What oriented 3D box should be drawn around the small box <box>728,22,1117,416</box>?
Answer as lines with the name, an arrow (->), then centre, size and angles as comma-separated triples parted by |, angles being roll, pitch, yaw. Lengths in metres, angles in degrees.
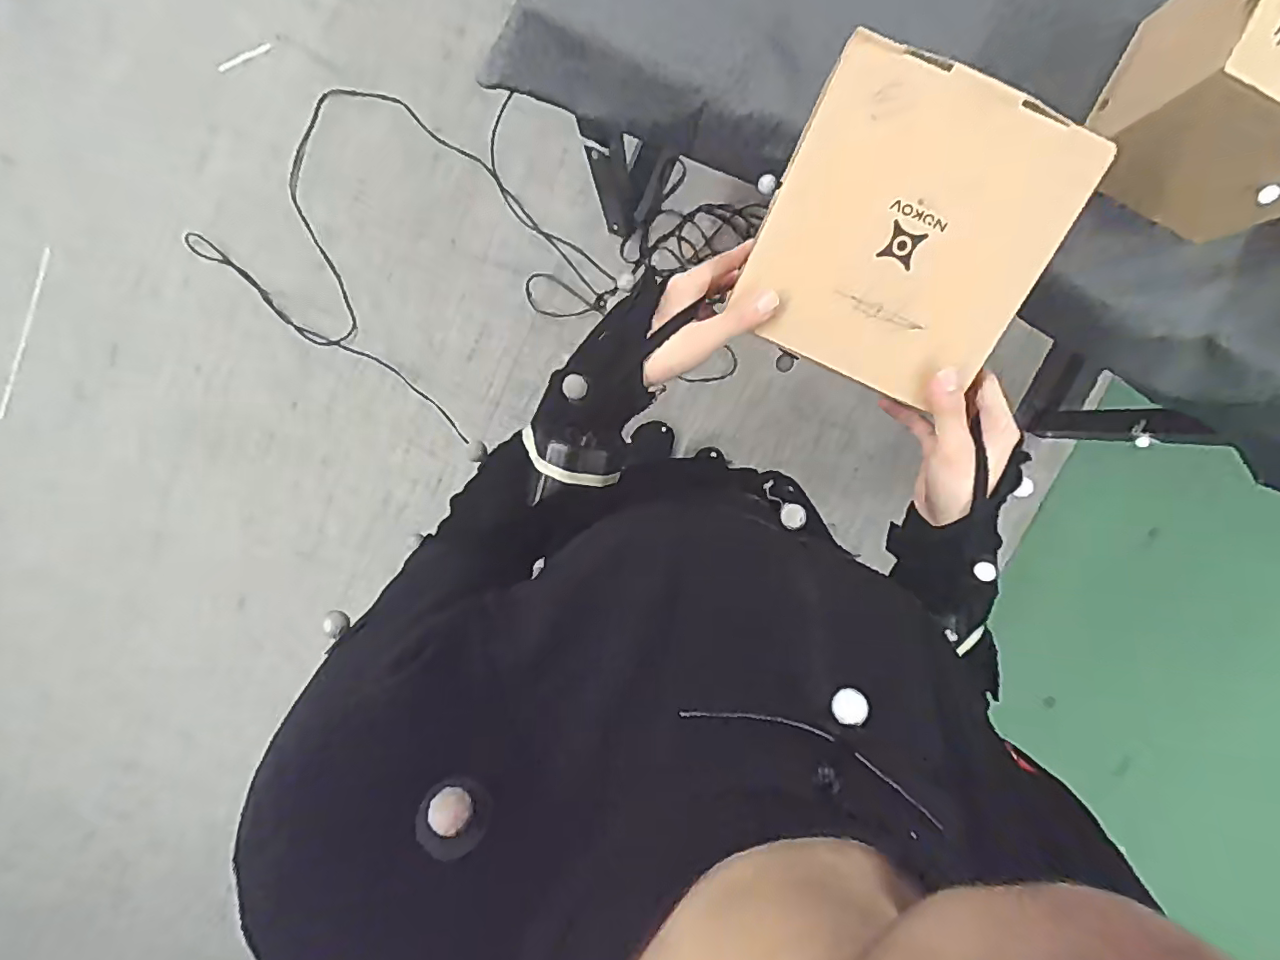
small box -> 0.173, -0.172, 0.405 | 0.168, 0.176, 0.179 | 25, 109, 0
